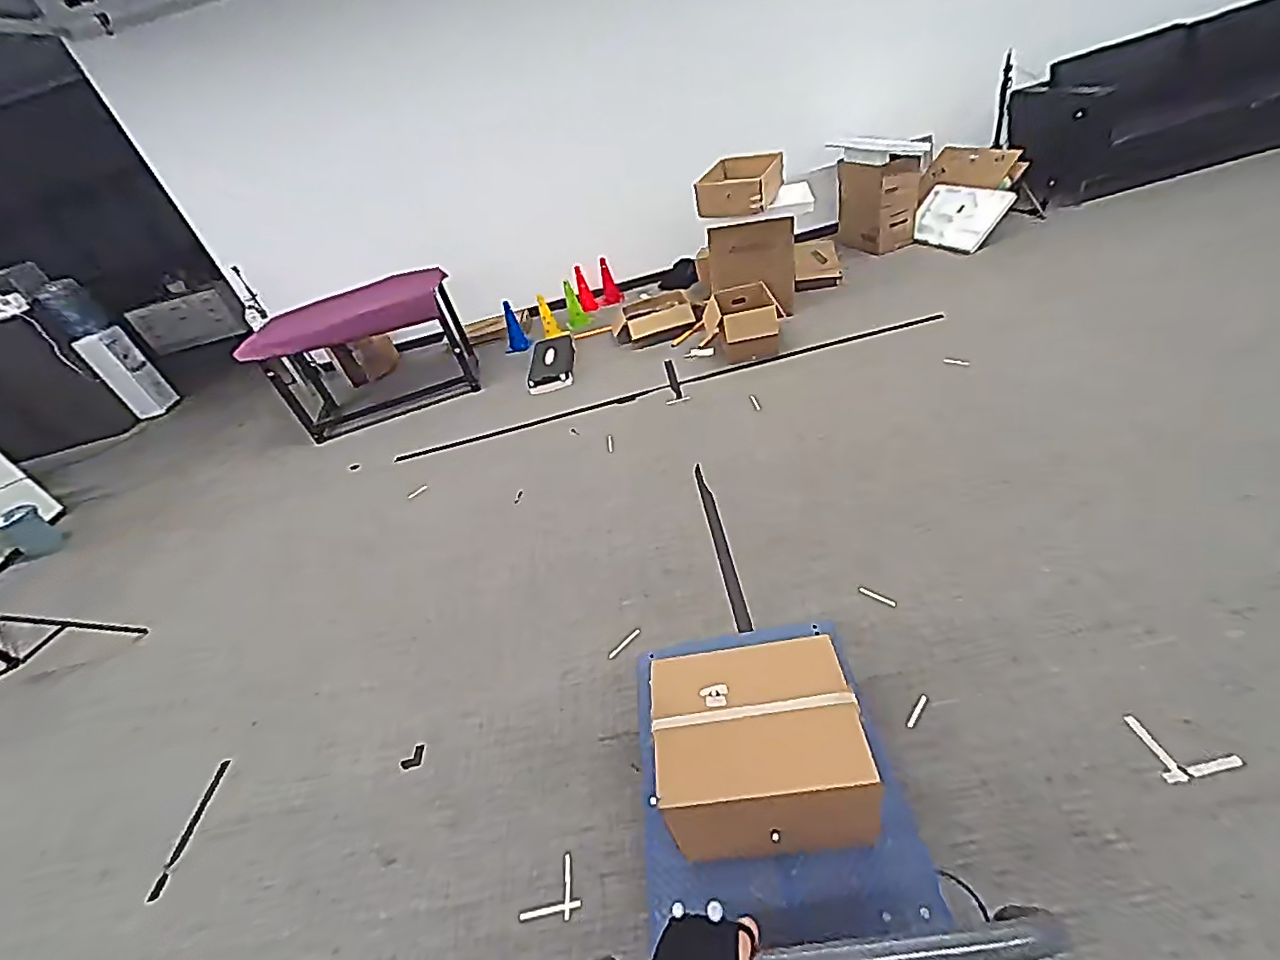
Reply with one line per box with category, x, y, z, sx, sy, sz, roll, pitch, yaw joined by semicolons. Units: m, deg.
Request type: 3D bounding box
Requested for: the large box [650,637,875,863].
large box;0.259;0.596;1.190;0.408;0.320;0.320;-12;36;8
